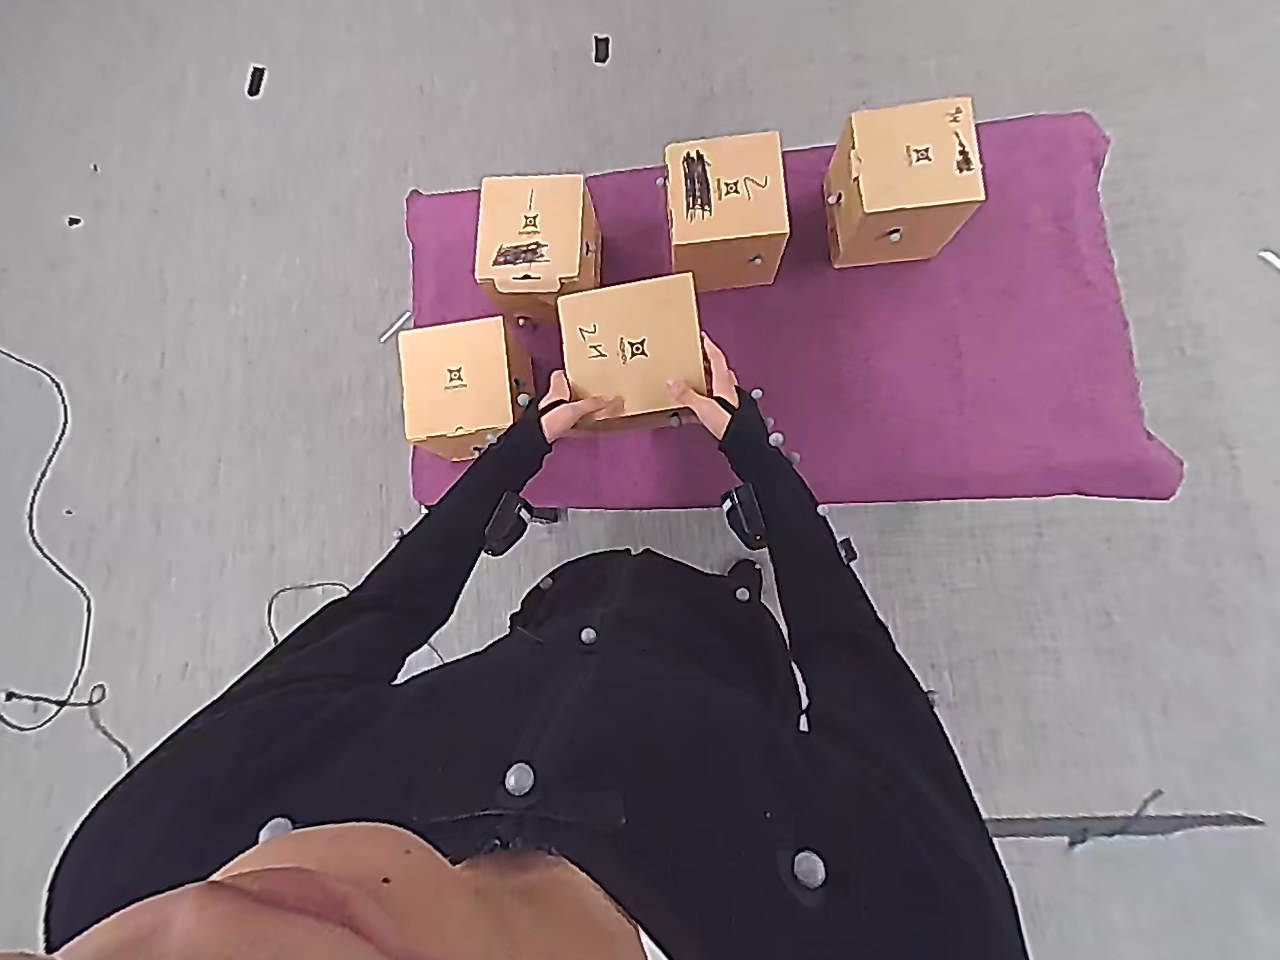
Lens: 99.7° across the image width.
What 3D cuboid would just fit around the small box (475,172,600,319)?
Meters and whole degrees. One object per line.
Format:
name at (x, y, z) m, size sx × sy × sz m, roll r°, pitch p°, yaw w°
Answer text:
small box at (-0.163, -0.379, 0.906) m, size 0.168 × 0.176 × 0.179 m, roll 1°, pitch 83°, yaw 5°

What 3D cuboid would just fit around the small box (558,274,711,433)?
small box at (0.002, -0.161, 0.743) m, size 0.179 × 0.176 × 0.168 m, roll -8°, pitch 89°, yaw 9°

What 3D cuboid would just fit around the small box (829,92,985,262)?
small box at (0.409, -0.468, 0.863) m, size 0.179 × 0.176 × 0.168 m, roll -5°, pitch 85°, yaw 6°

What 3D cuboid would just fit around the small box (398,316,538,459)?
small box at (-0.272, -0.142, 0.885) m, size 0.168 × 0.176 × 0.179 m, roll -8°, pitch 83°, yaw 2°
